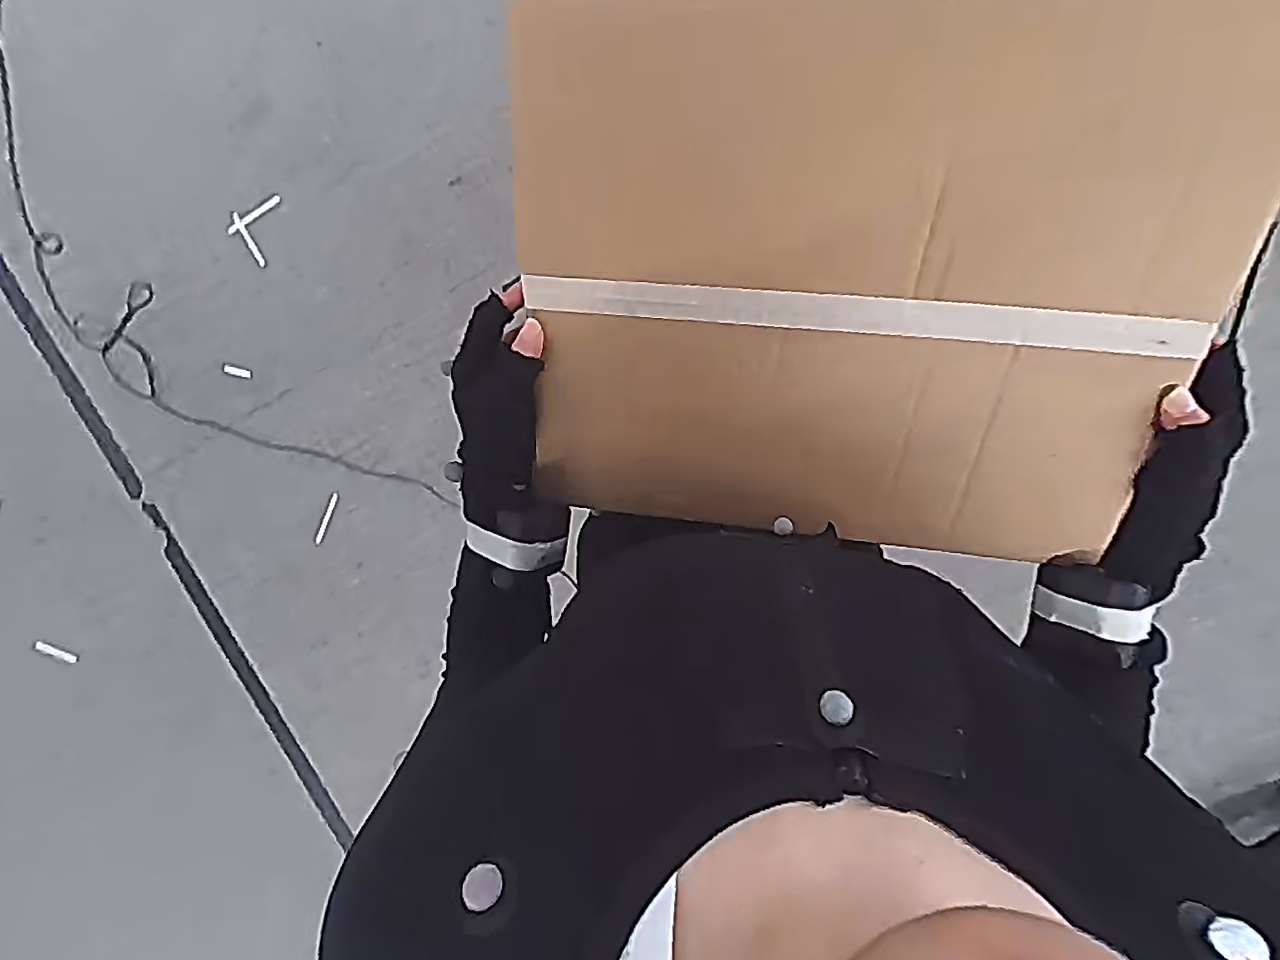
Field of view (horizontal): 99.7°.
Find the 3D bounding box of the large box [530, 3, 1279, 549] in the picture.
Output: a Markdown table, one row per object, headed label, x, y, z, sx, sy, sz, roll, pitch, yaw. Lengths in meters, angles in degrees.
| label | x | y | z | sx | sy | sz | roll | pitch | yaw |
| --- | --- | --- | --- | --- | --- | --- | --- | --- | --- |
| large box | 0.145 | -0.169 | 0.479 | 0.408 | 0.320 | 0.320 | 7 | 117 | 5 |
